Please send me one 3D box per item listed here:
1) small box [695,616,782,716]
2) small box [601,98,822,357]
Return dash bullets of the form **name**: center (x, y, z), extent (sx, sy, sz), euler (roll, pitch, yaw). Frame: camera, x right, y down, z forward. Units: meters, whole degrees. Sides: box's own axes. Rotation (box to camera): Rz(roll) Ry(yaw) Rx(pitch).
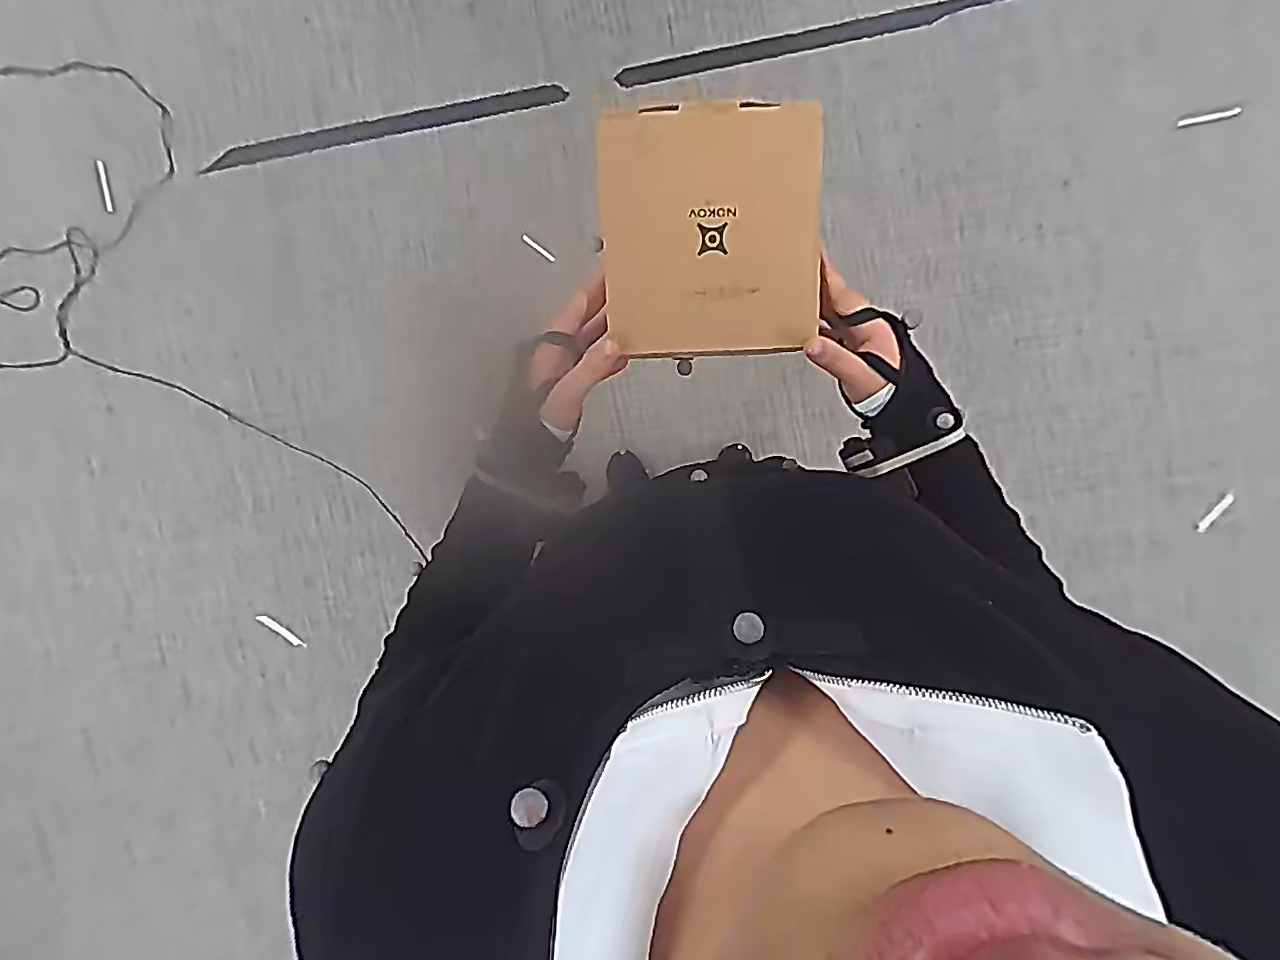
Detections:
- **small box**: center (0.236, 0.448, 1.335), extent (0.168, 0.176, 0.179), euler (-13, 93, 3)
- **small box**: center (0.052, -0.204, 0.485), extent (0.168, 0.176, 0.179), euler (-2, 102, 0)
